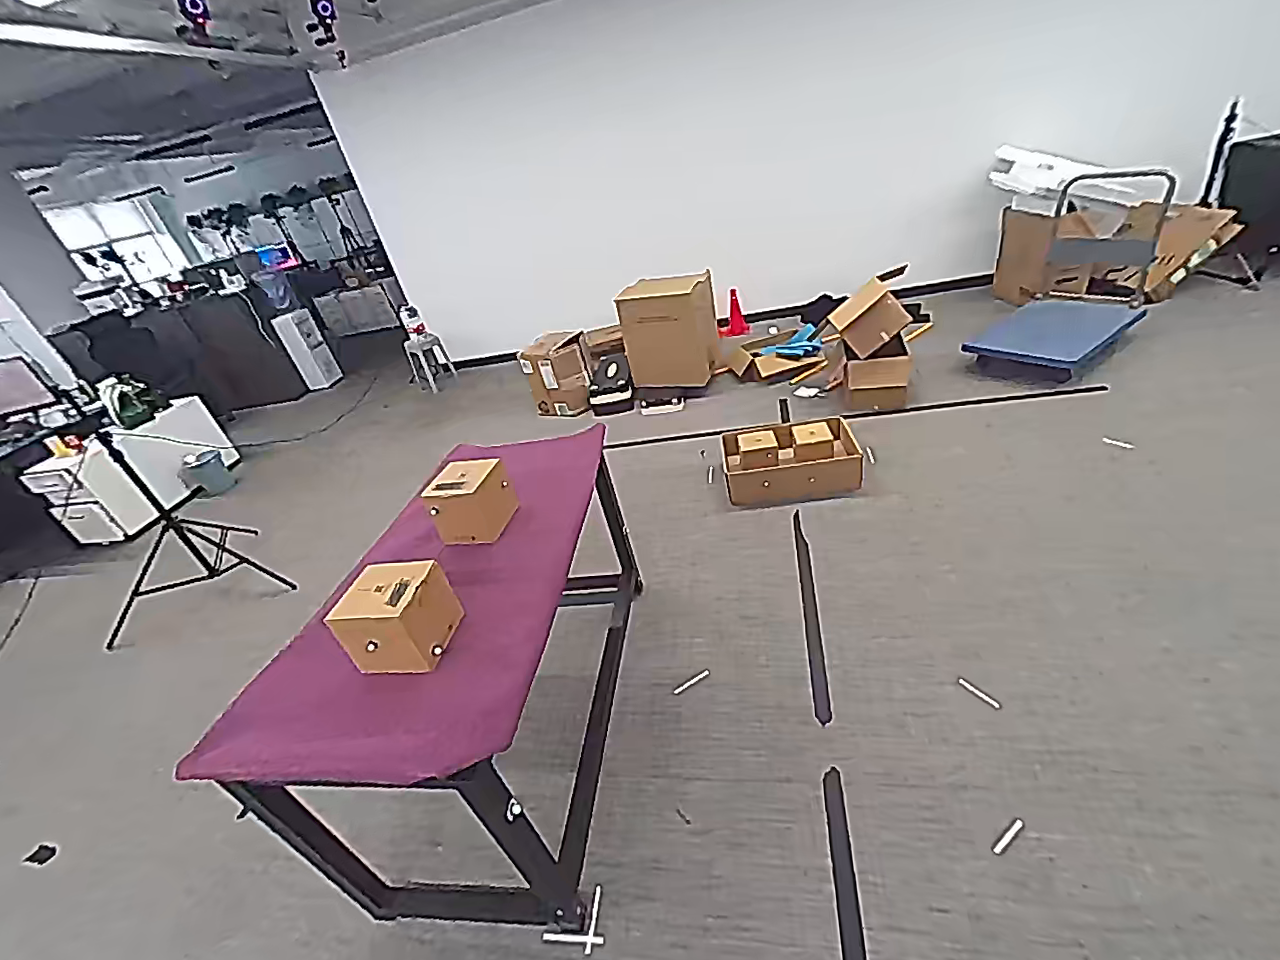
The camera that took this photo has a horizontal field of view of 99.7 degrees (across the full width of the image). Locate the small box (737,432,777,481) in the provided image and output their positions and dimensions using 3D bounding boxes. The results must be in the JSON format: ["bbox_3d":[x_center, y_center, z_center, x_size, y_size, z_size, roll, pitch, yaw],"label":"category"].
[{"bbox_3d":[0.581,-0.114,2.676,0.179,0.176,0.168,-8,31,7],"label":"small box"}]

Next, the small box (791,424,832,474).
[{"bbox_3d":[0.835,-0.149,2.635,0.168,0.176,0.179,-9,32,10],"label":"small box"}]

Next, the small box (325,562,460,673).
[{"bbox_3d":[-0.519,0.297,1.166,0.179,0.176,0.168,-6,32,13],"label":"small box"}]
